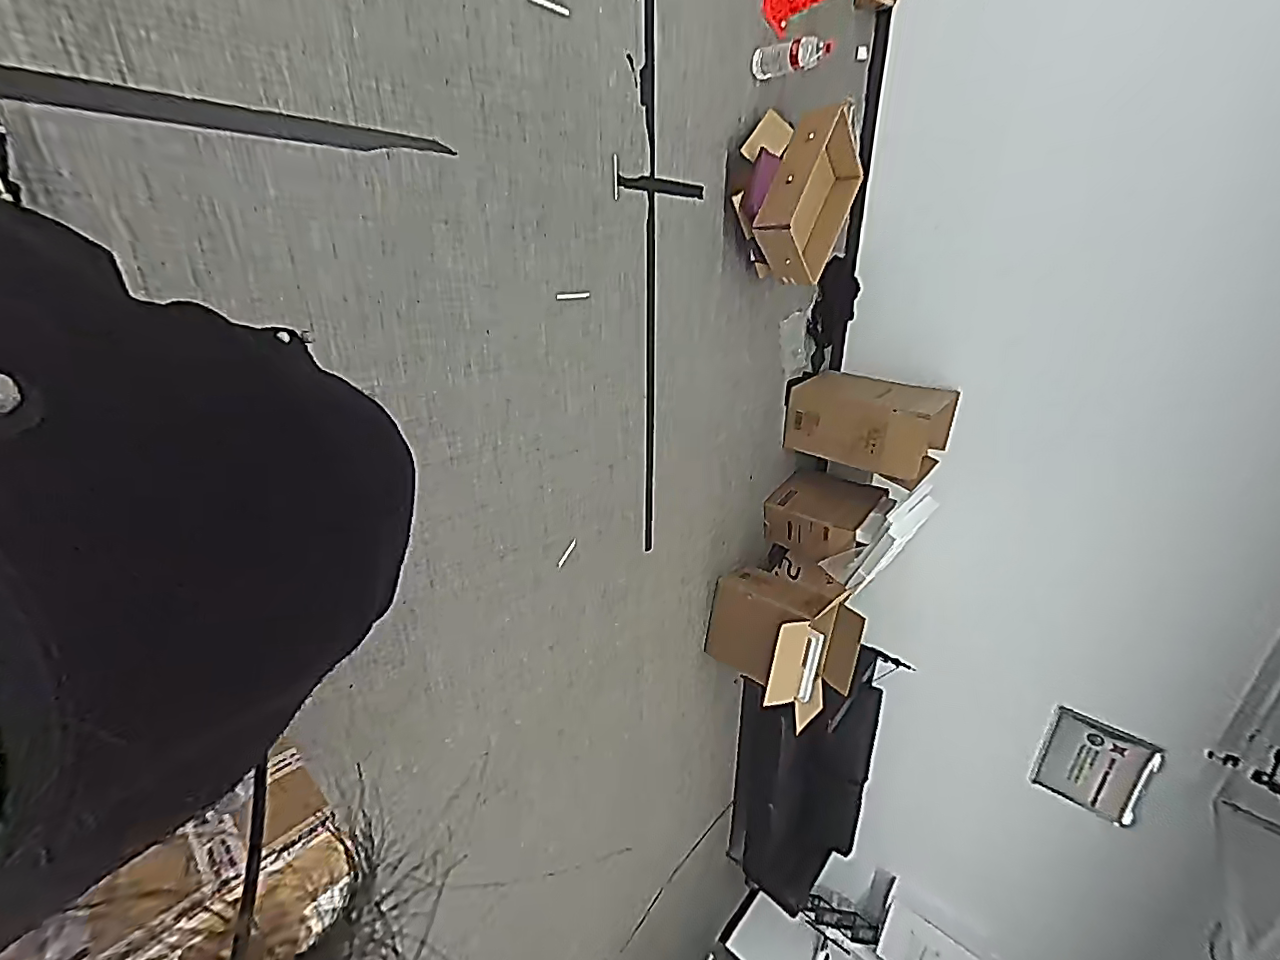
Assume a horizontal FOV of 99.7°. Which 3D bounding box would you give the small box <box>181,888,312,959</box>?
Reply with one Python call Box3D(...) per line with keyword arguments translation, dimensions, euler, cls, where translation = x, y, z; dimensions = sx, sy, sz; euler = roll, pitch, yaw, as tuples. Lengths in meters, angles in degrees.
Box3D(translation=(-0.744, 0.951, 1.042), dimensions=(0.168, 0.176, 0.179), euler=(-24, 119, -44), cls="small box")
